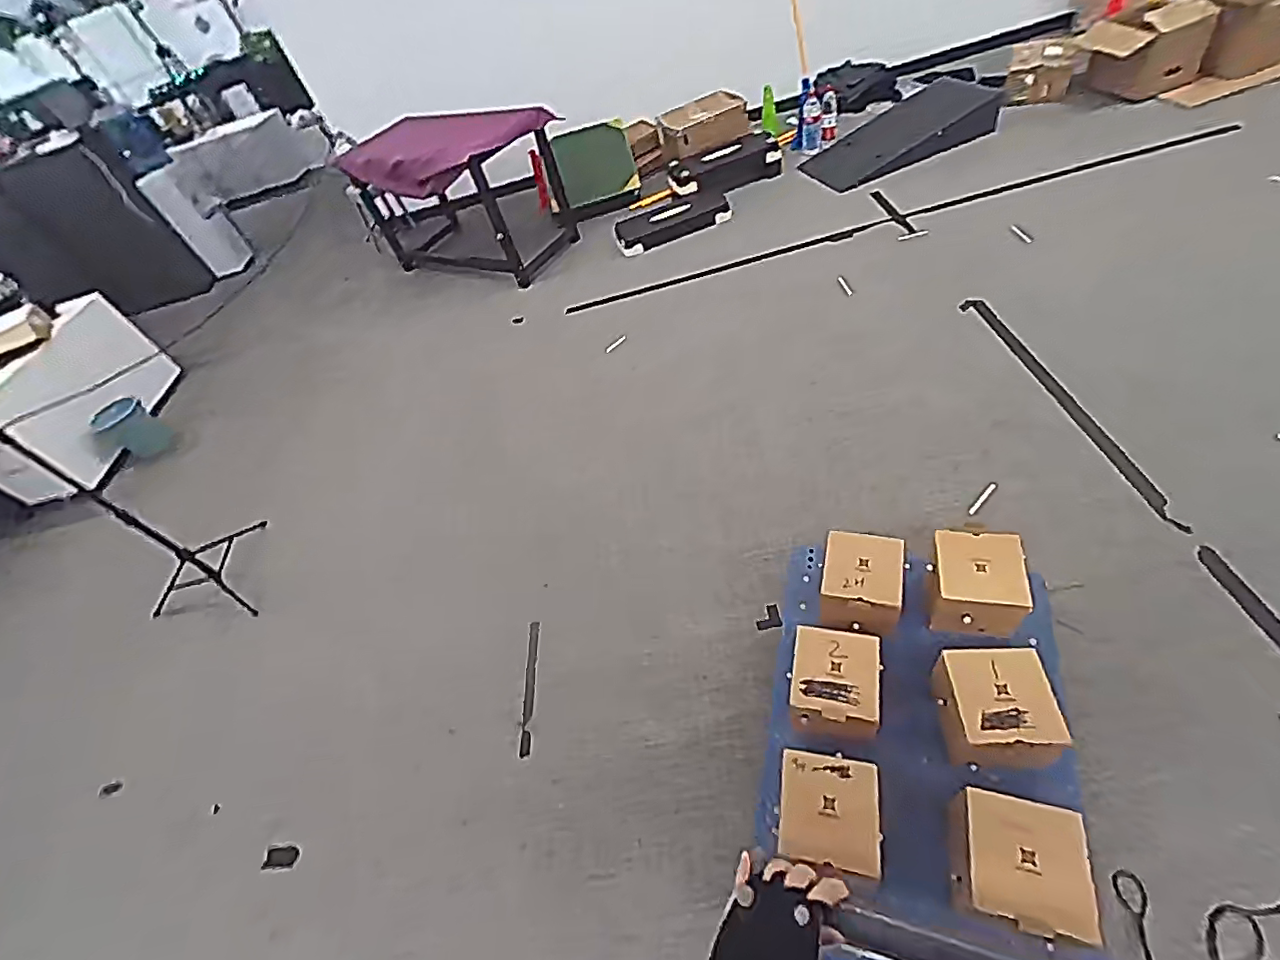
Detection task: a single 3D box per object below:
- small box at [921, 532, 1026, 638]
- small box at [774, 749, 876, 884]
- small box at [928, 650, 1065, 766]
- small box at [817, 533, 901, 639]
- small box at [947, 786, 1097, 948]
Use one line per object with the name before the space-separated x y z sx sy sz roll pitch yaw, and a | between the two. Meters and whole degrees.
small box | 0.745 0.241 1.227 0.168 0.176 0.179 2 51 19
small box | 0.347 0.633 1.014 0.168 0.176 0.179 3 52 18
small box | 0.686 0.451 1.065 0.168 0.176 0.179 -5 49 13
small box | 0.517 0.251 1.285 0.168 0.176 0.179 6 53 22
small box | 0.628 0.652 0.913 0.168 0.176 0.179 5 52 21
